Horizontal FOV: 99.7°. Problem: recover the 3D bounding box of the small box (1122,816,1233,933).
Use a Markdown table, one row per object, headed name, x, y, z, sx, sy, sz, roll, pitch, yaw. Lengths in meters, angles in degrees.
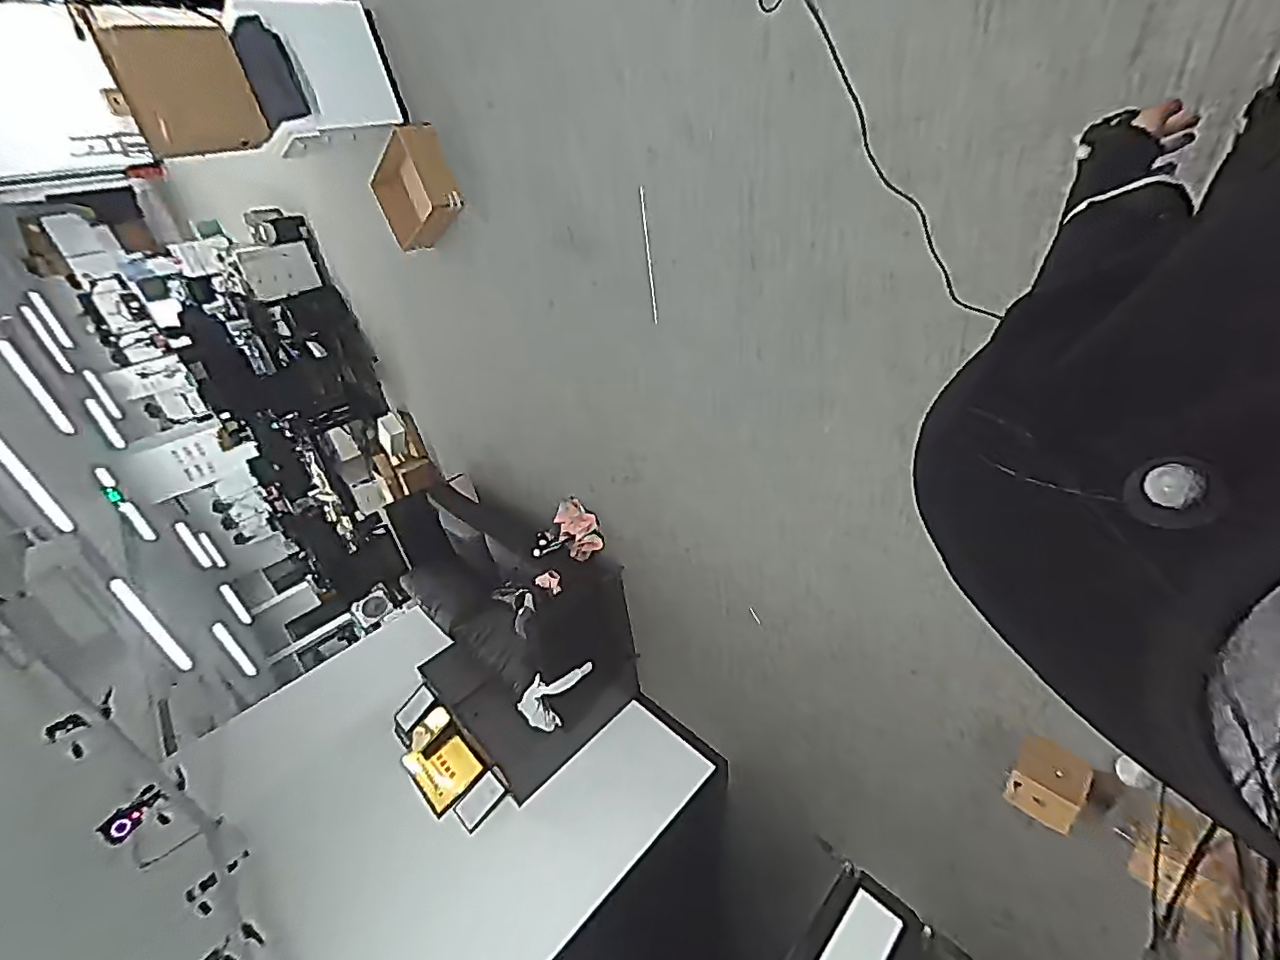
| name | x | y | z | sx | sy | sz | roll | pitch | yaw |
| --- | --- | --- | --- | --- | --- | --- | --- | --- | --- |
| small box | 1.476 | 1.069 | 1.487 | 0.179 | 0.176 | 0.168 | 20 | 130 | 43 |
